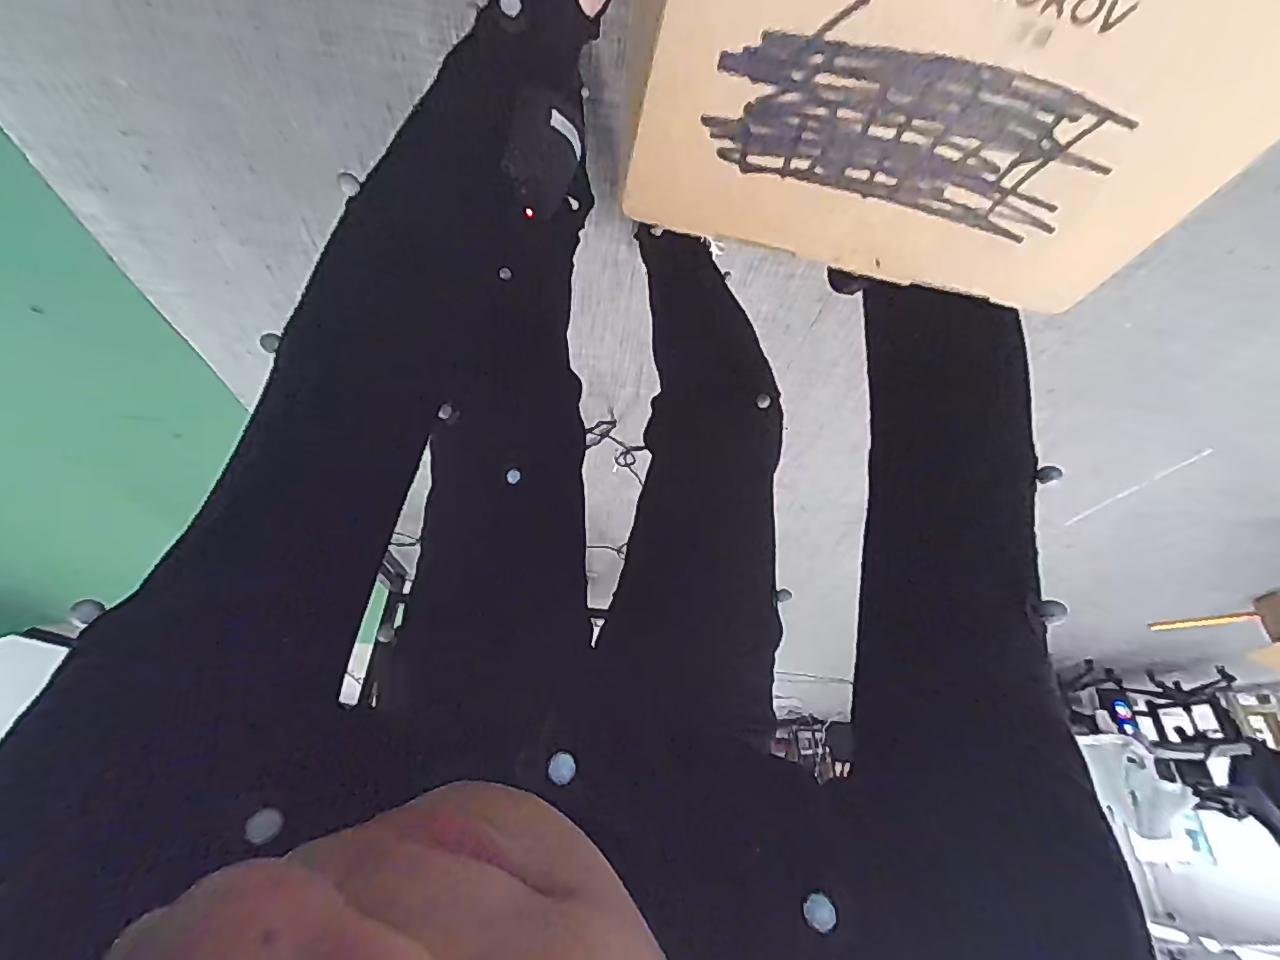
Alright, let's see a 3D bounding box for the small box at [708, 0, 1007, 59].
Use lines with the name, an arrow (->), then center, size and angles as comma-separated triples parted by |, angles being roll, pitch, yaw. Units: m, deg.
small box -> 0.102, -0.329, 0.221 | 0.168, 0.176, 0.179 | 5, 153, -9
